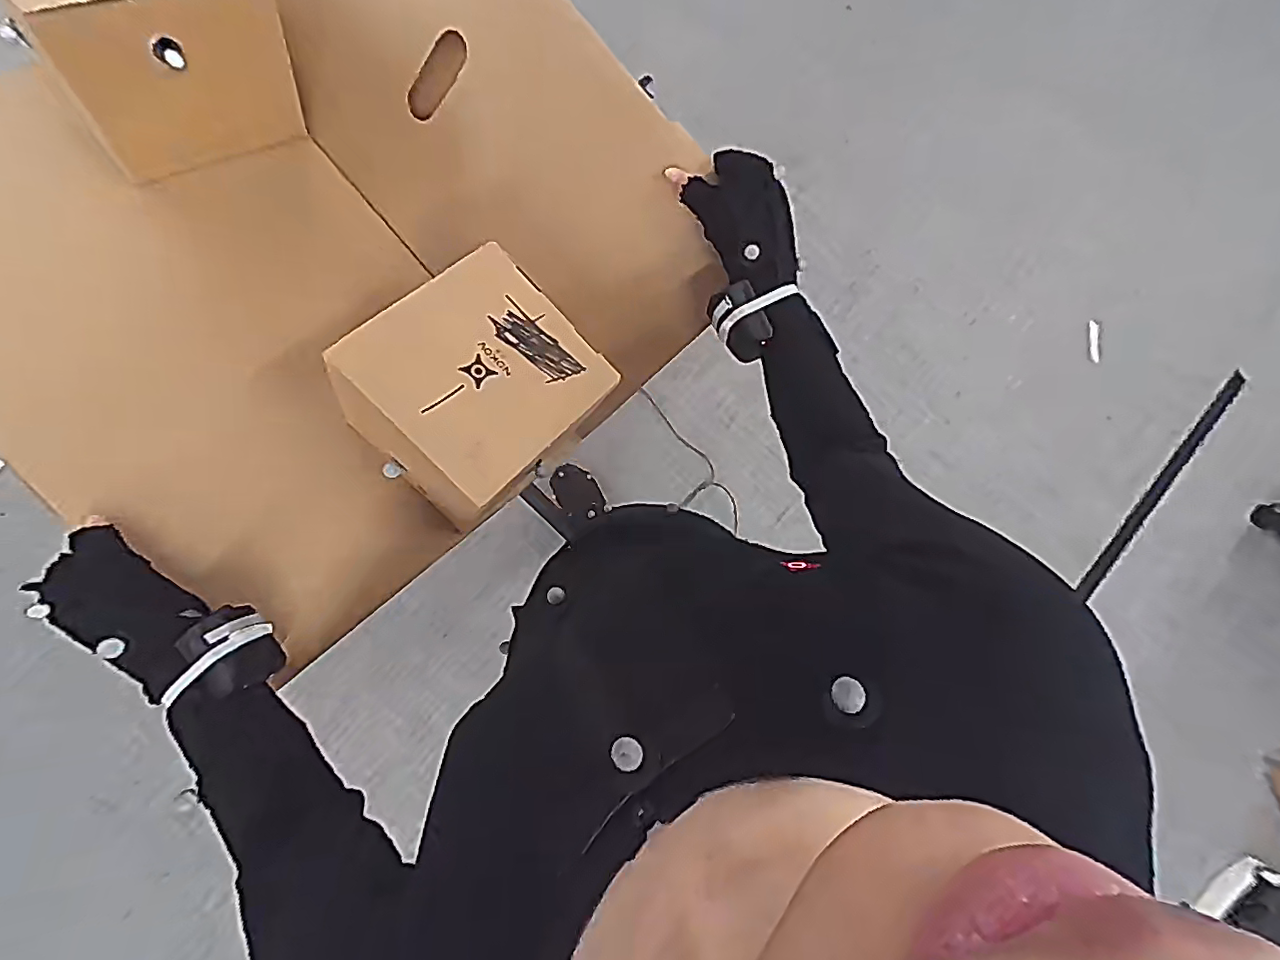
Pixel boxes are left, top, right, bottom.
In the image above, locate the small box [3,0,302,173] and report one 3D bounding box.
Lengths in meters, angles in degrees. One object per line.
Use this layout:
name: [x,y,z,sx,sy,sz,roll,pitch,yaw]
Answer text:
small box: [-0.447,-0.418,0.488,0.179,0.176,0.168,-37,93,-26]
